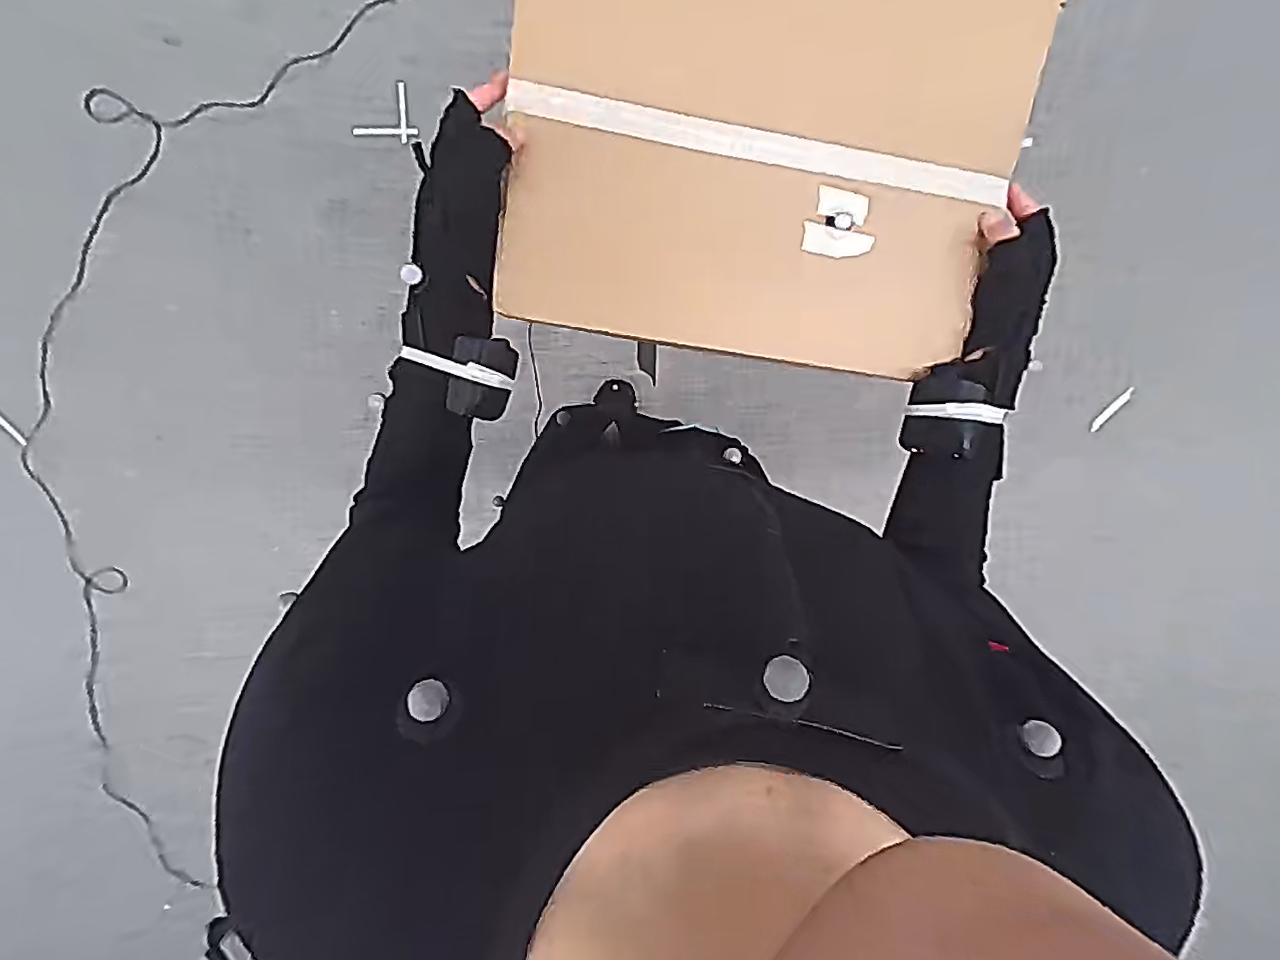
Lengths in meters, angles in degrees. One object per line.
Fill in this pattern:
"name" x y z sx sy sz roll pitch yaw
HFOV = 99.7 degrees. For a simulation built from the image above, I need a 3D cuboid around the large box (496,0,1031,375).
"large box" 0.078 -0.299 0.577 0.408 0.320 0.320 6 105 -7
